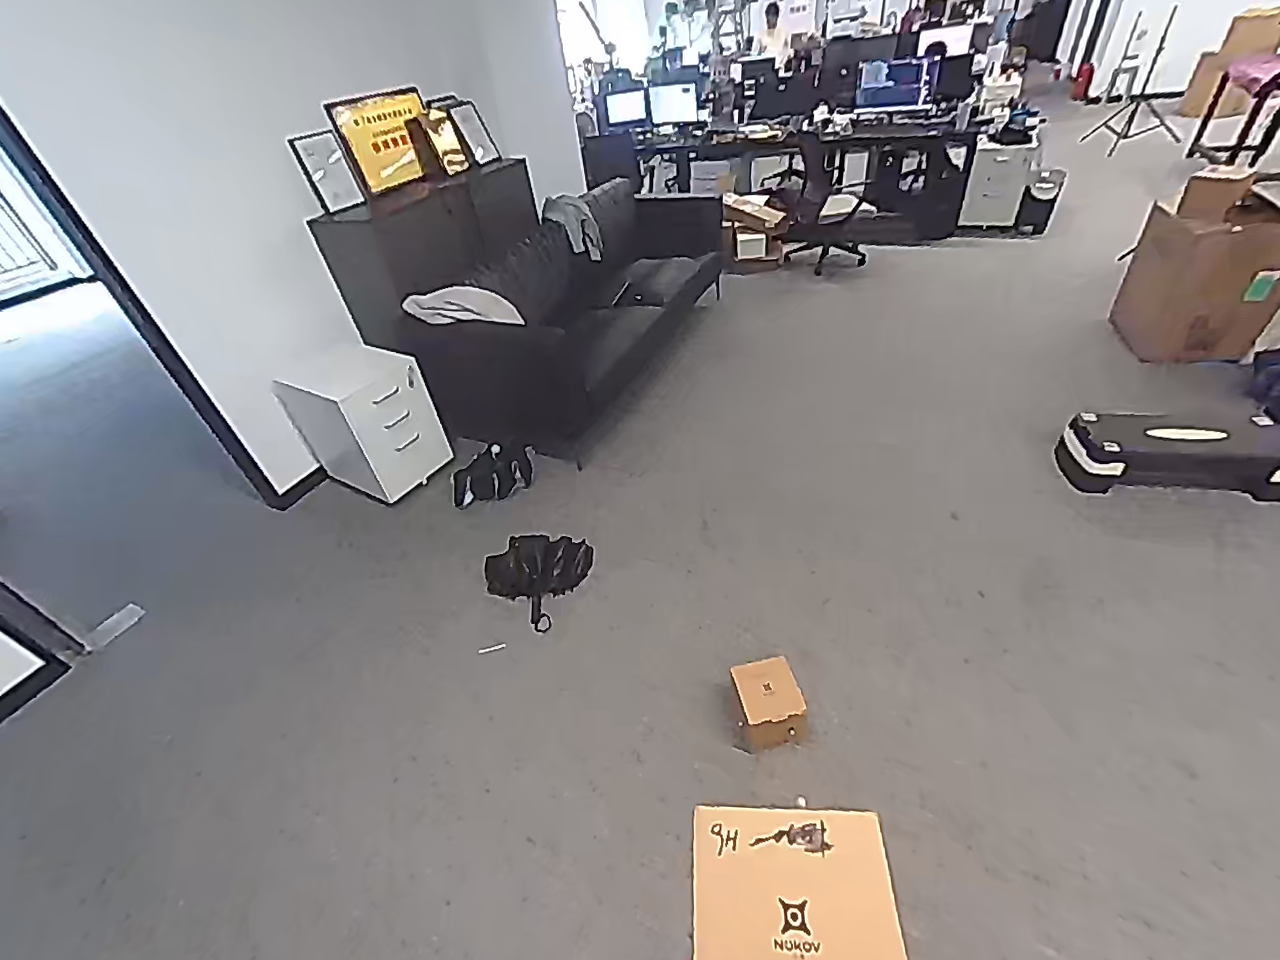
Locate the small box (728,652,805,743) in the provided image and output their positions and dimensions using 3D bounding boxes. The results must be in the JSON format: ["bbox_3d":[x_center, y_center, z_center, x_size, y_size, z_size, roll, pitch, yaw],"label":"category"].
[{"bbox_3d":[0.359,0.631,1.556,0.168,0.176,0.179,-11,38,-5],"label":"small box"}]
